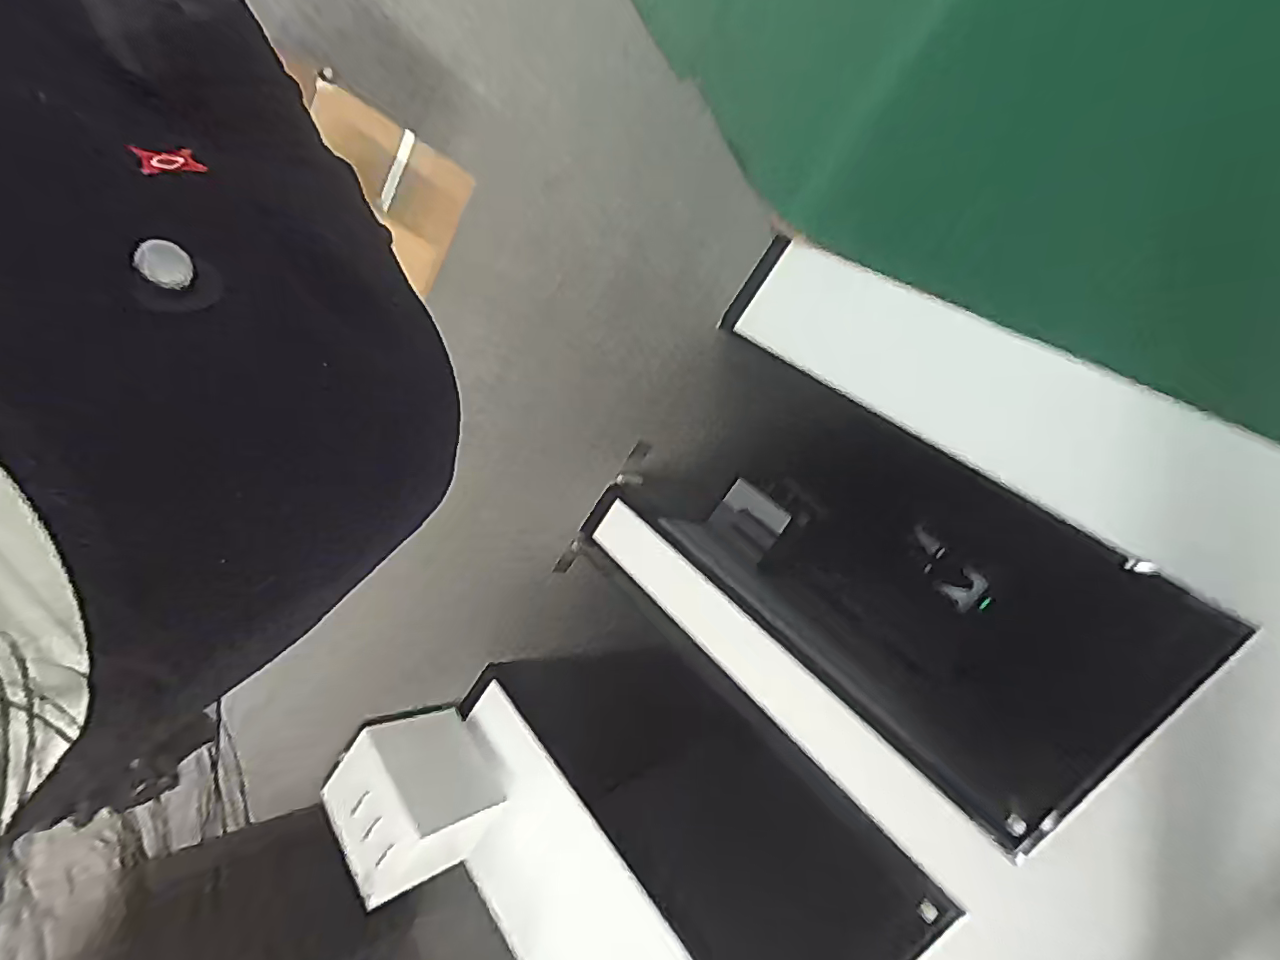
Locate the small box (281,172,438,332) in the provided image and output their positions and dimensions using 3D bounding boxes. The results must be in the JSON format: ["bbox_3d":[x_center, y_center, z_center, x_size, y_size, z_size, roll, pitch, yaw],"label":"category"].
[{"bbox_3d":[-0.503,-0.401,0.959,0.179,0.176,0.168,-56,149,10],"label":"small box"}]
